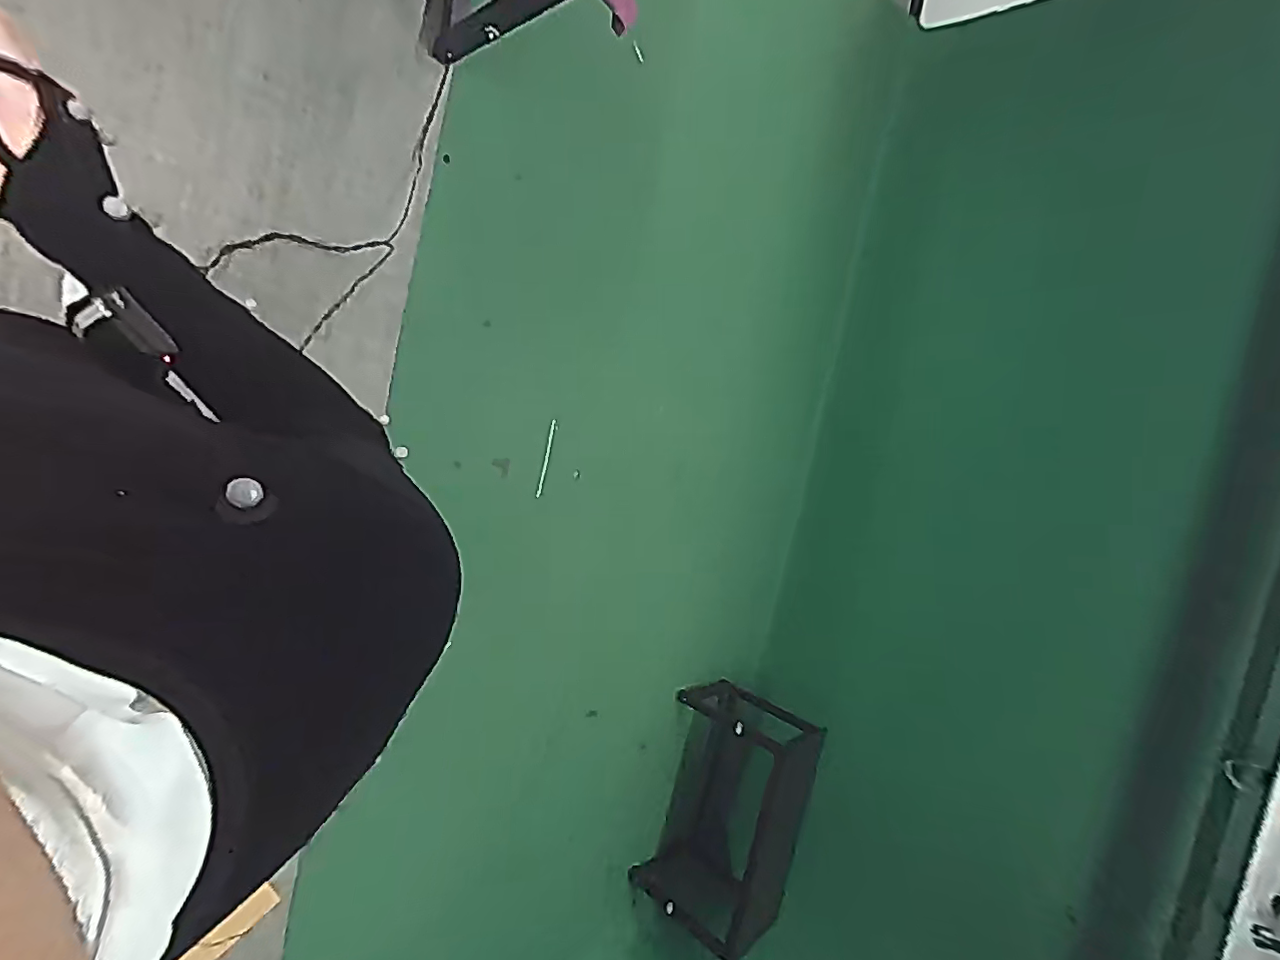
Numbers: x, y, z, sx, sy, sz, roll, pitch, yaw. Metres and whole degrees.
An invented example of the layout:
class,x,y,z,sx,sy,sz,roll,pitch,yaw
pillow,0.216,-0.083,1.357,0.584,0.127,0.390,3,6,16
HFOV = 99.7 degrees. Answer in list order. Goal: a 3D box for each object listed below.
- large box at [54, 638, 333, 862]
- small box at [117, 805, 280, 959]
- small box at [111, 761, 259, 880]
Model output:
class,x,y,z,sx,sy,sz,roll,pitch,yaw
large box,-1.077,0.677,1.333,0.408,0.320,0.320,-37,129,-39
small box,-0.823,0.758,1.011,0.168,0.176,0.179,-35,125,-39
small box,-0.942,0.733,1.119,0.179,0.176,0.168,-37,128,-38
